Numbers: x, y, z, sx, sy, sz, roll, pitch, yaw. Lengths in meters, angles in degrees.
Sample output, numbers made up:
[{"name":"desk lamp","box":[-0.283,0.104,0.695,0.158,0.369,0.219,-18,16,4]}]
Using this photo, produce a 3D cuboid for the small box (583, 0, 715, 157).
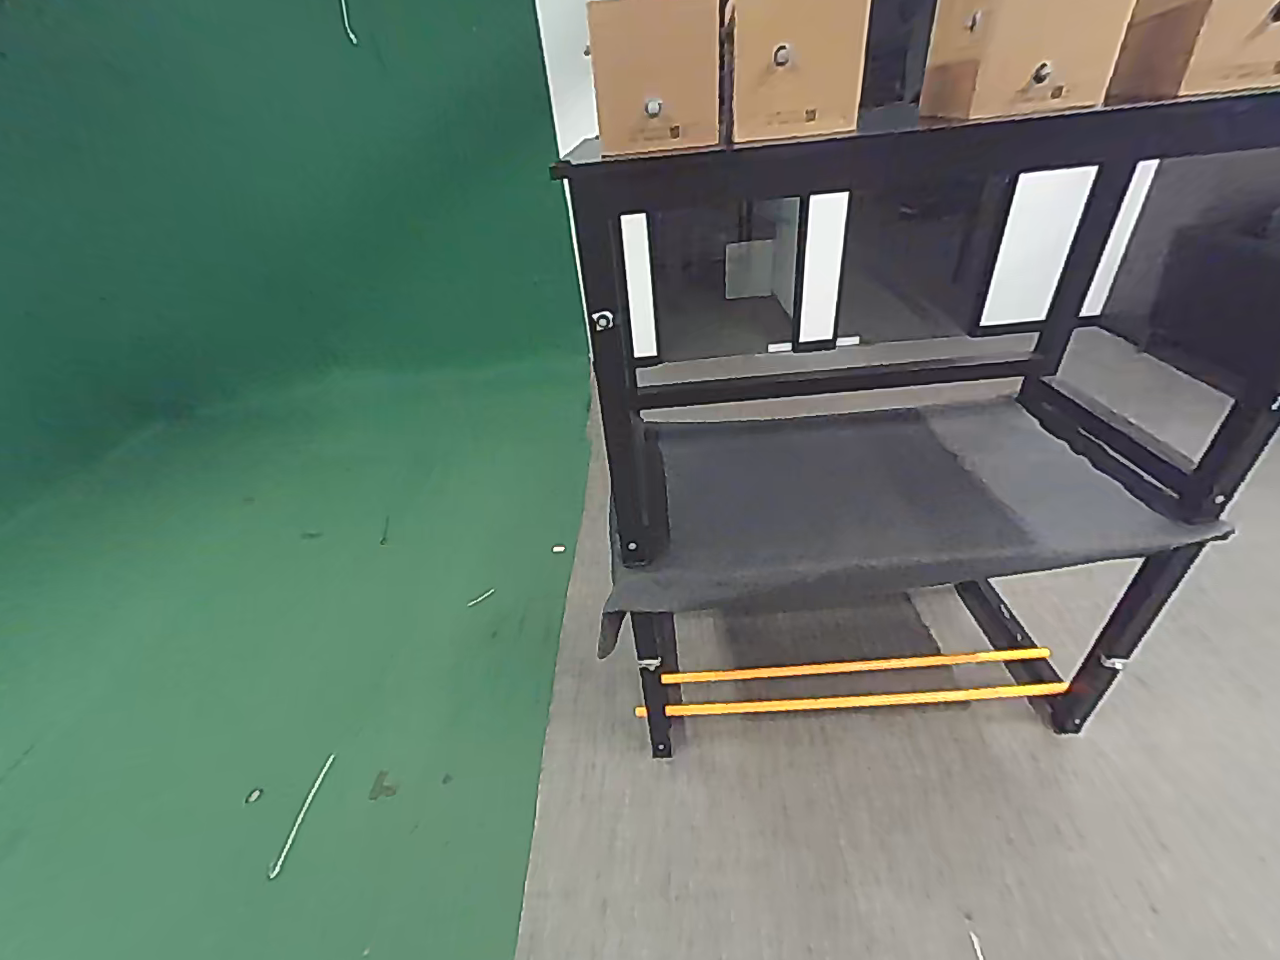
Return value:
[{"name":"small box","box":[0.014,-0.570,0.776,0.168,0.176,0.179,-5,35,1]}]

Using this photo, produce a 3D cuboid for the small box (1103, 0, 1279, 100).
[{"name":"small box","box":[0.774,-0.616,0.714,0.168,0.176,0.179,1,35,10]}]
